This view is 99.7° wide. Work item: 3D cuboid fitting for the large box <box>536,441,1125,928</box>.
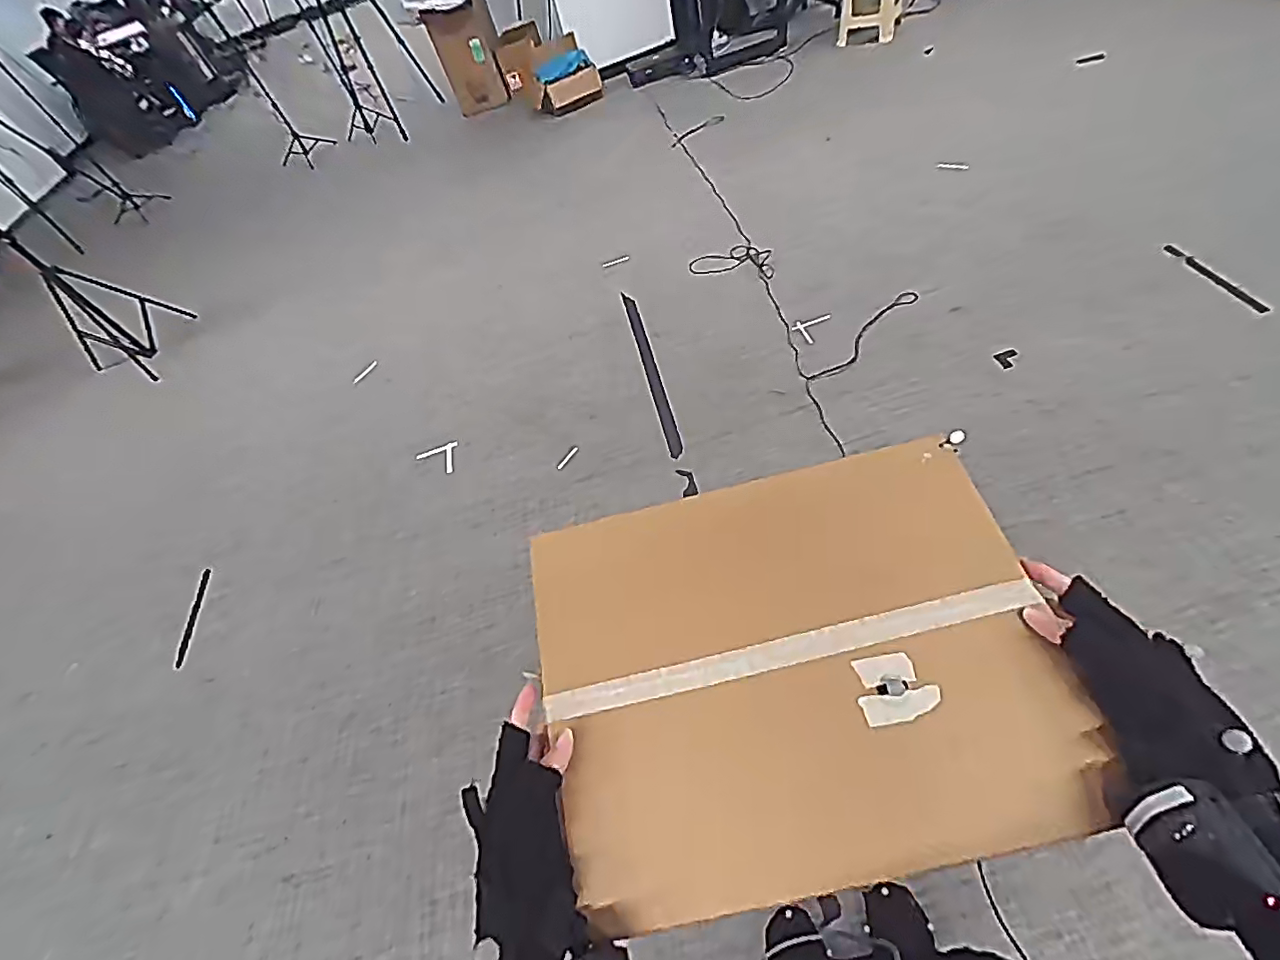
[{"bbox_3d":[0.139,0.211,0.583,0.408,0.320,0.320,-14,61,1],"label":"large box"}]
